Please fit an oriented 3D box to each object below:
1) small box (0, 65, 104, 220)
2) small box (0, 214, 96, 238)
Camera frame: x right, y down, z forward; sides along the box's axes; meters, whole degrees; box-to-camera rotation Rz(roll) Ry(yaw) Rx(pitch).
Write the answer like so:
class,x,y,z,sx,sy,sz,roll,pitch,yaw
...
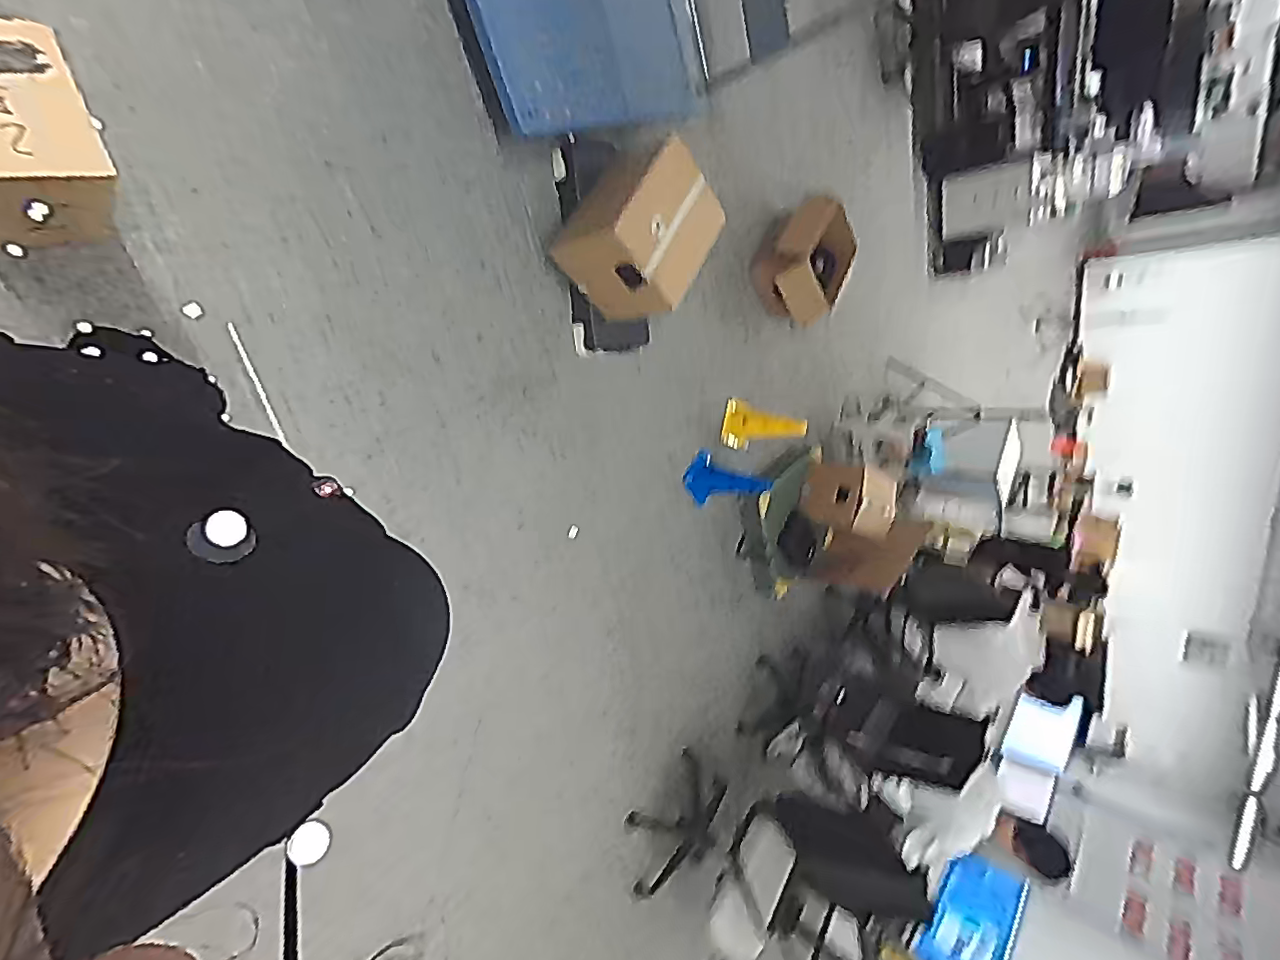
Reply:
class,x,y,z,sx,sy,sz,roll,pitch,yaw
small box,-0.953,-0.496,0.808,0.179,0.176,0.168,-28,116,-40
small box,-1.072,-0.519,0.919,0.168,0.176,0.179,-28,115,-40
